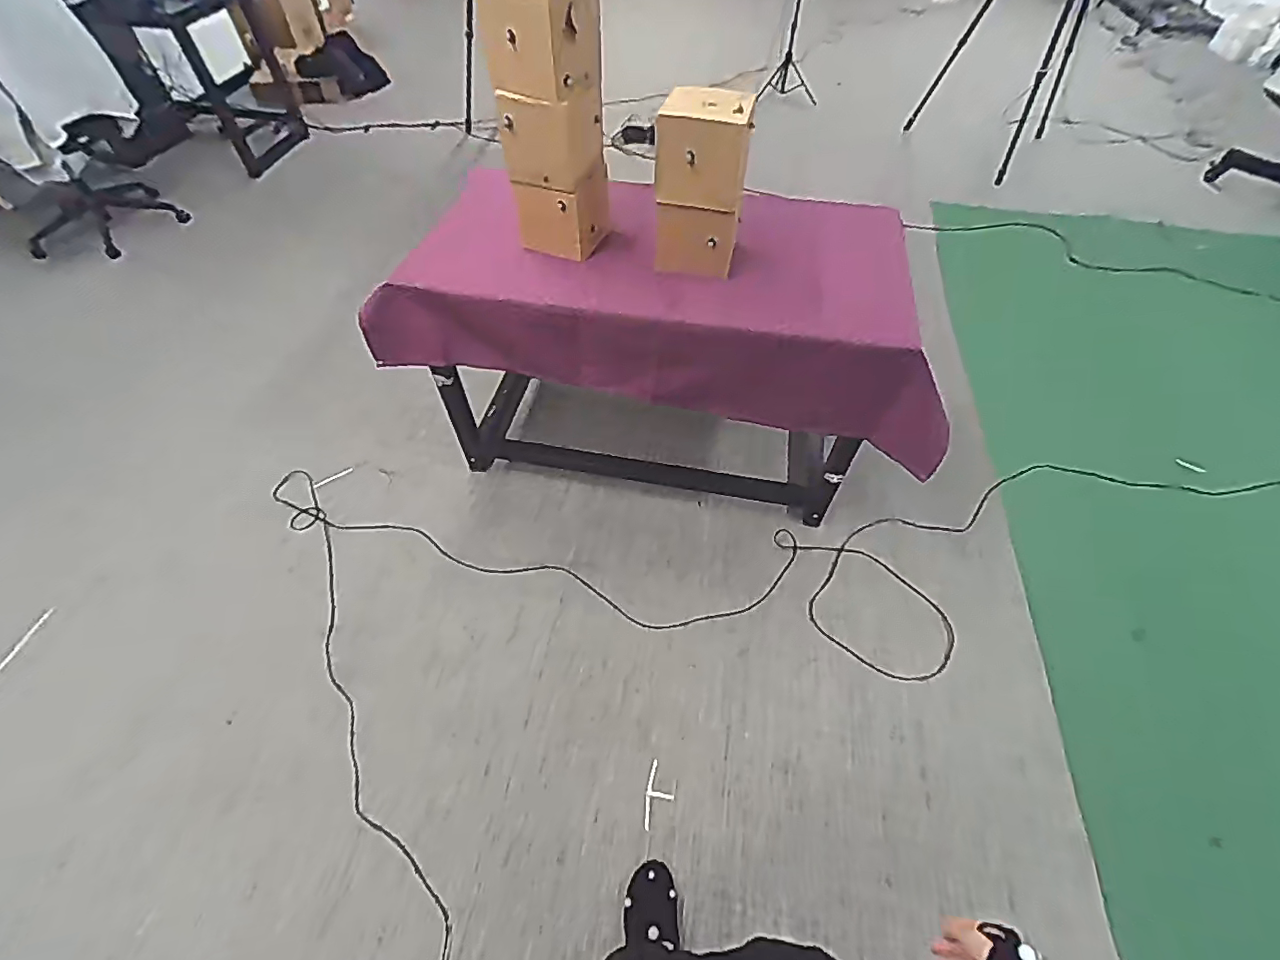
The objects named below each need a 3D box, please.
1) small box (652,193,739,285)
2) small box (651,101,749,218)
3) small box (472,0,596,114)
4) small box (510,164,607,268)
[{"bbox_3d":[0.130,-0.588,1.291,0.179,0.176,0.168,10,52,8],"label":"small box"},{"bbox_3d":[0.126,-0.684,1.158,0.179,0.176,0.168,12,53,9],"label":"small box"},{"bbox_3d":[-0.202,-0.865,1.090,0.179,0.176,0.168,24,55,17],"label":"small box"},{"bbox_3d":[-0.194,-0.650,1.339,0.179,0.176,0.168,18,54,13],"label":"small box"}]
